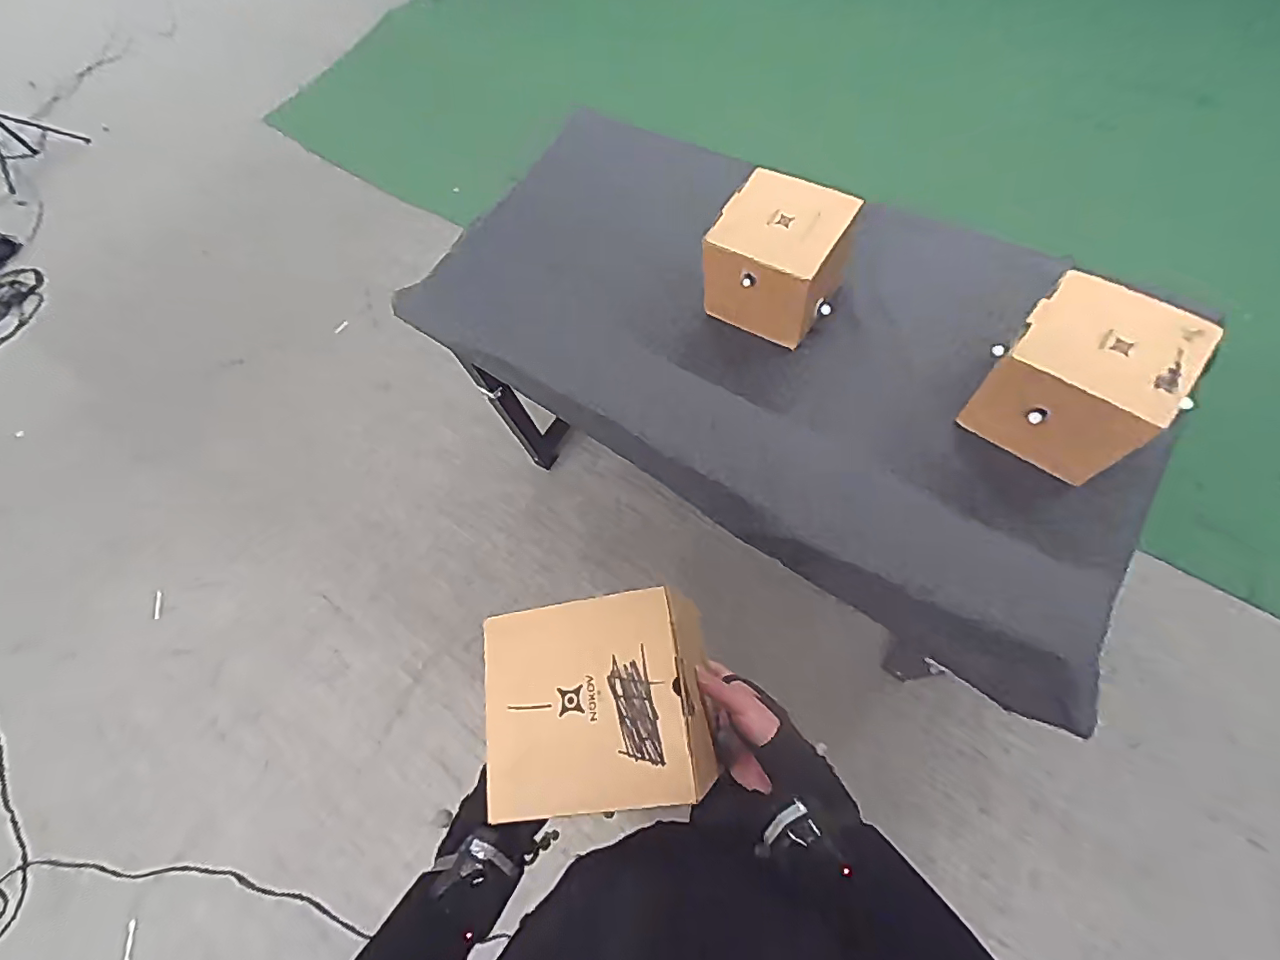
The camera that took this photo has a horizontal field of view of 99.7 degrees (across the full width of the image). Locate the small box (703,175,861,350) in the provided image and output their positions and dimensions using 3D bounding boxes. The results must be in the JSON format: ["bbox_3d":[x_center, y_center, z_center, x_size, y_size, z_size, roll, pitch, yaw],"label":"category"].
[{"bbox_3d":[0.216,-0.337,0.861,0.179,0.176,0.168,30,75,18],"label":"small box"}]

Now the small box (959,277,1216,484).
[{"bbox_3d":[0.564,-0.122,0.712,0.179,0.176,0.168,36,77,21],"label":"small box"}]
